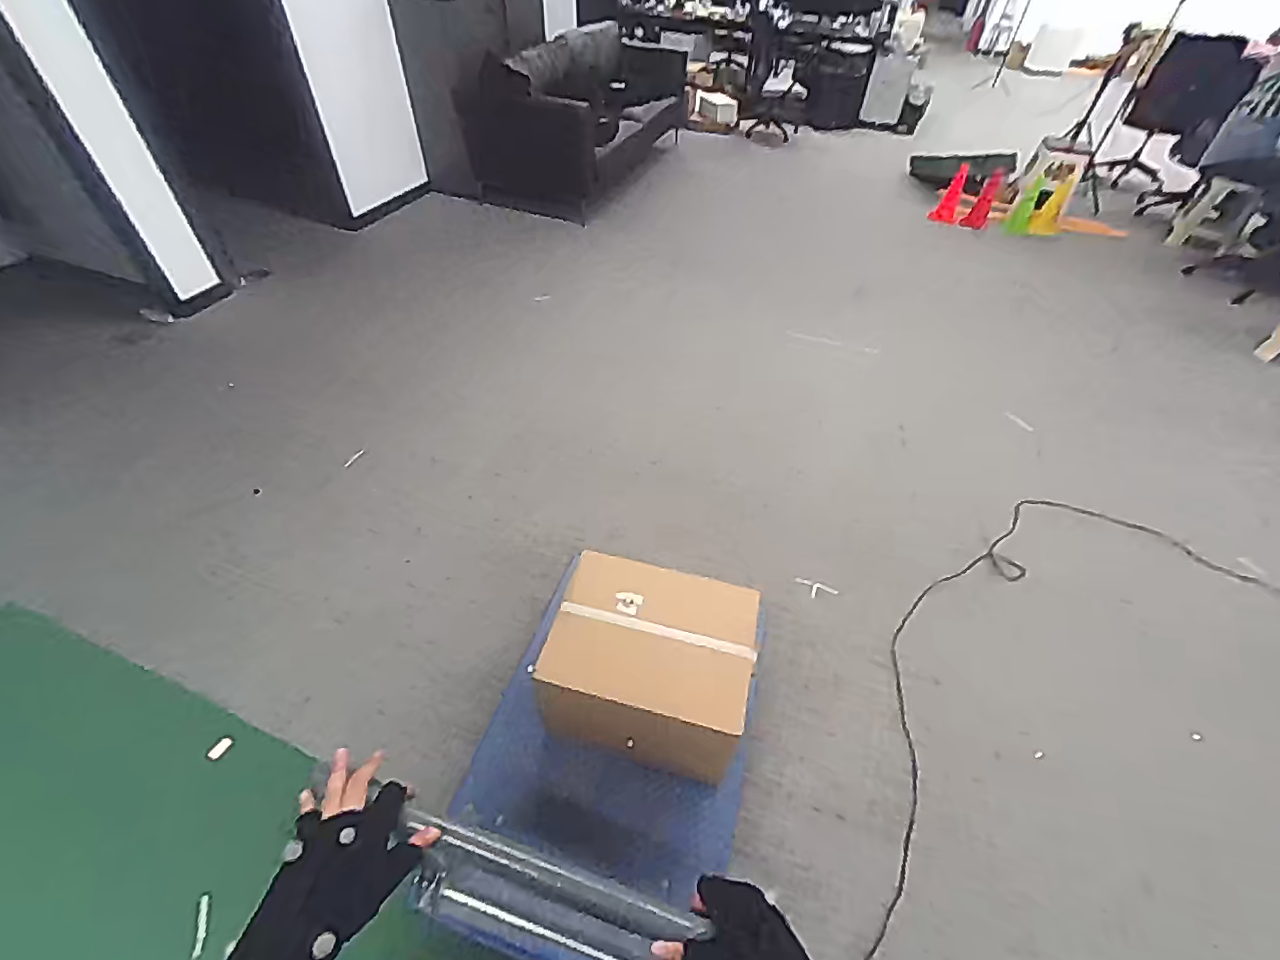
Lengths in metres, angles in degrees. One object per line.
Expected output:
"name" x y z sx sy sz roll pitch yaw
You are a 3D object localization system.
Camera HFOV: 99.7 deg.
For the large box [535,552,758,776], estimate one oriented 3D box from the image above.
"large box" 0.026 0.408 1.204 0.408 0.320 0.320 12 46 9
